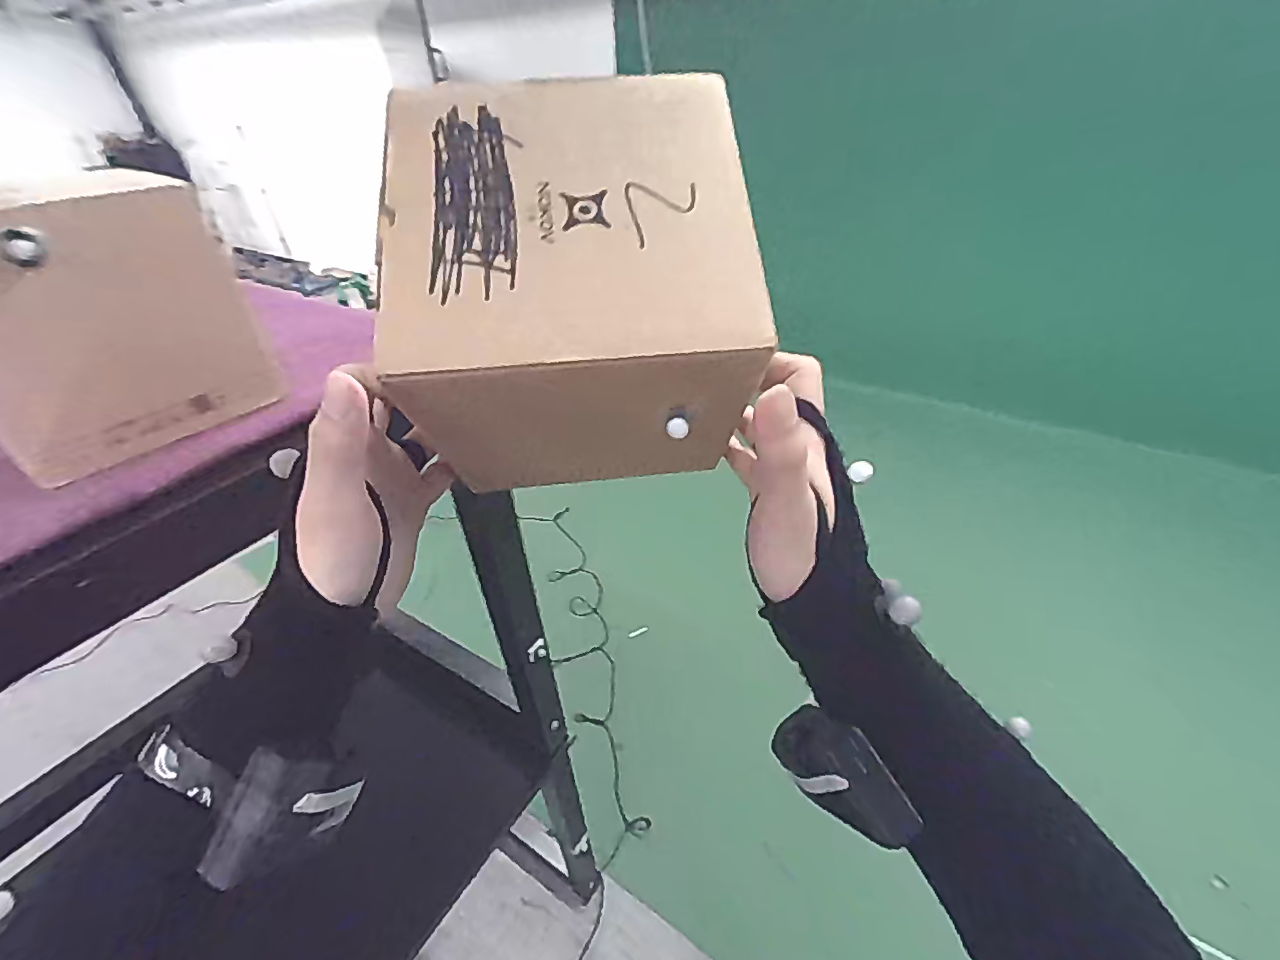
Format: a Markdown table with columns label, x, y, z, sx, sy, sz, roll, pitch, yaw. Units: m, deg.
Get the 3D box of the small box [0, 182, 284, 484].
| label | x | y | z | sx | sy | sz | roll | pitch | yaw |
| --- | --- | --- | --- | --- | --- | --- | --- | --- | --- |
| small box | -0.422 | -0.120 | 0.414 | 0.179 | 0.176 | 0.168 | 22 | 44 | 31 |
